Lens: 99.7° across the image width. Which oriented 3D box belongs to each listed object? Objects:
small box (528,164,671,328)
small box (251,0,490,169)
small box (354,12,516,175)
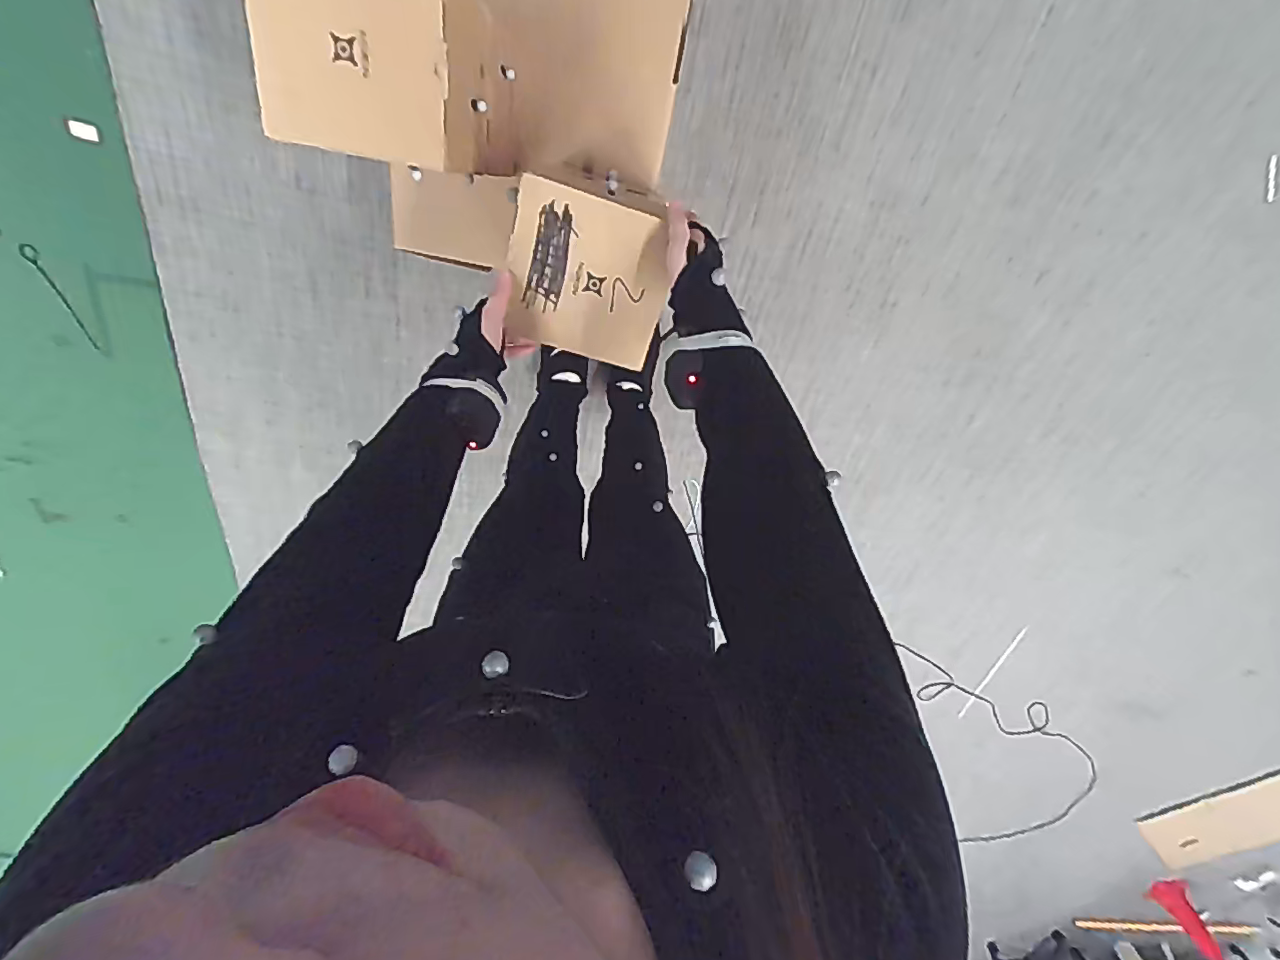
[{"bbox_3d":[-0.064,-0.351,0.807,0.168,0.176,0.179,12,118,-9],"label":"small box"},{"bbox_3d":[-0.266,-0.434,0.567,0.179,0.176,0.168,7,118,-6],"label":"small box"},{"bbox_3d":[-0.265,-0.510,0.712,0.179,0.176,0.168,7,118,-5],"label":"small box"}]
